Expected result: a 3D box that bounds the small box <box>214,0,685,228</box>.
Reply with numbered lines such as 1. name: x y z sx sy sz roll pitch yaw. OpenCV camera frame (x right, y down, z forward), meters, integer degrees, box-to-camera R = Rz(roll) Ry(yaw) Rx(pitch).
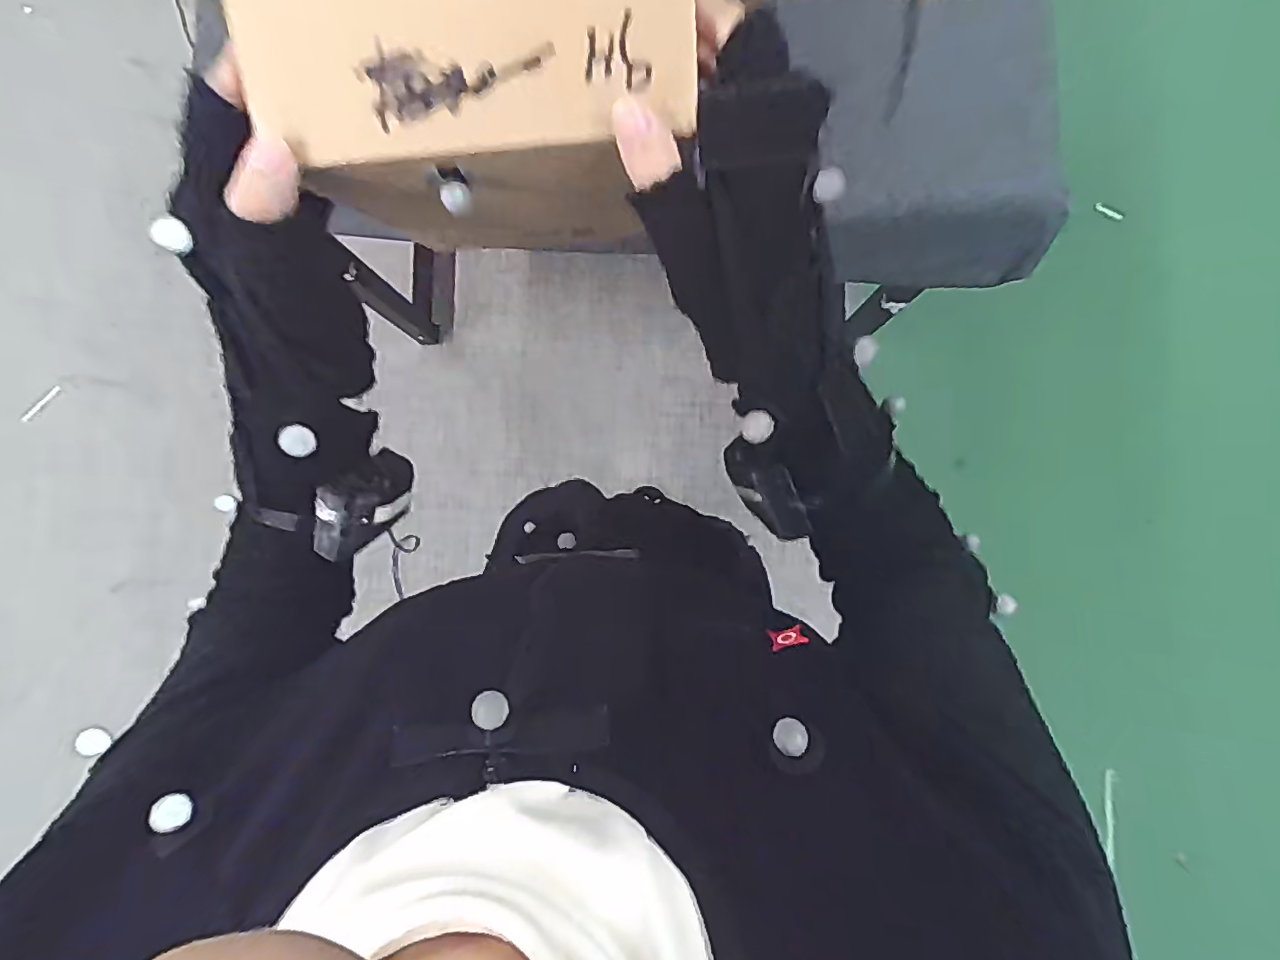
1. small box: -0.069 -0.236 0.256 0.168 0.176 0.179 -3 103 2
